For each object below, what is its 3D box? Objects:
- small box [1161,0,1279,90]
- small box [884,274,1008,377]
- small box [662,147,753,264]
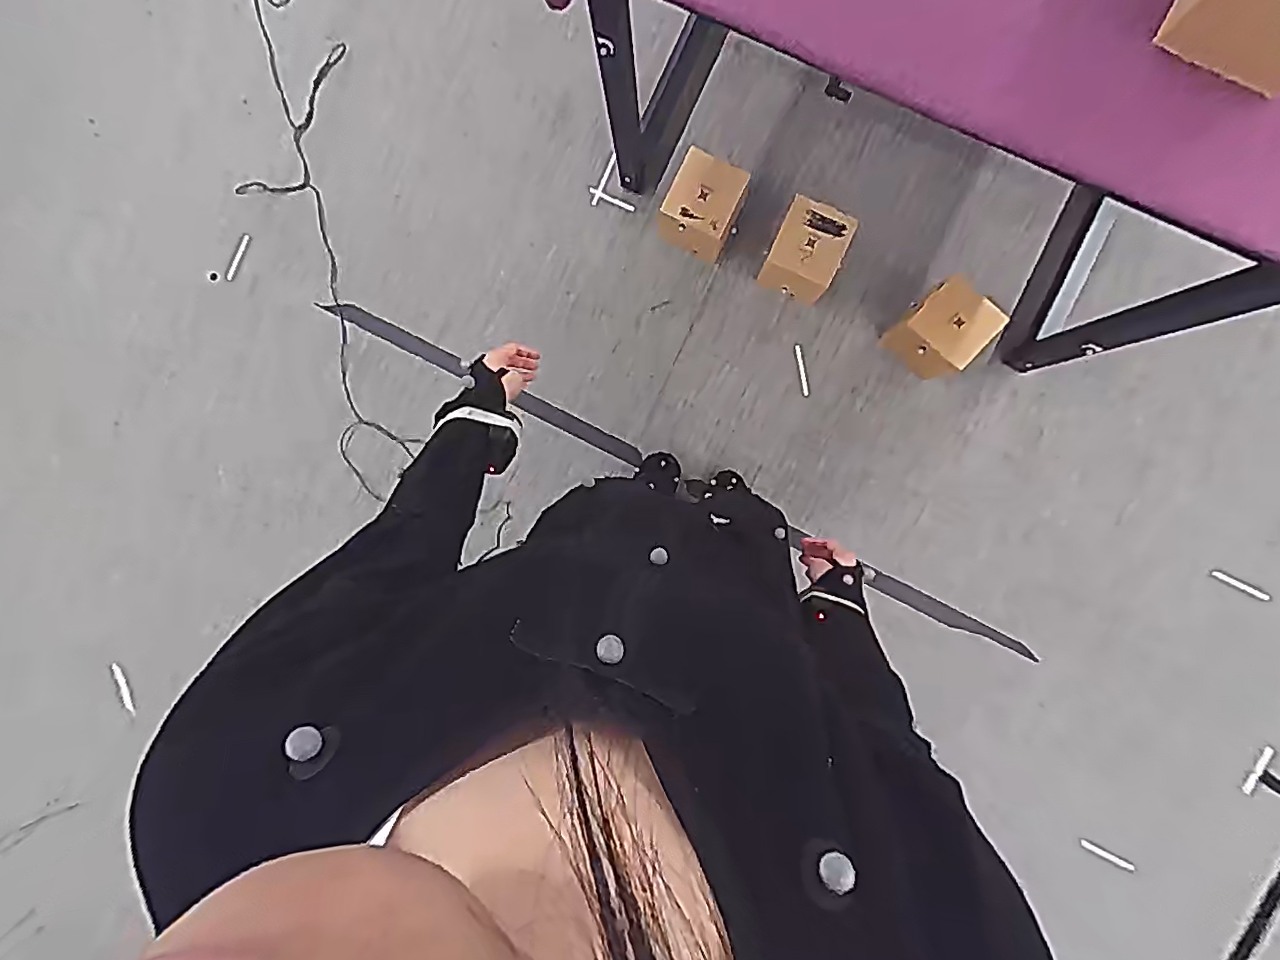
[{"bbox_3d":[0.783,-0.600,0.619,0.179,0.176,0.168,28,92,3],"label":"small box"},{"bbox_3d":[0.759,-0.377,1.360,0.179,0.176,0.168,43,94,3],"label":"small box"},{"bbox_3d":[0.165,-0.694,1.385,0.168,0.176,0.179,28,92,2],"label":"small box"}]
